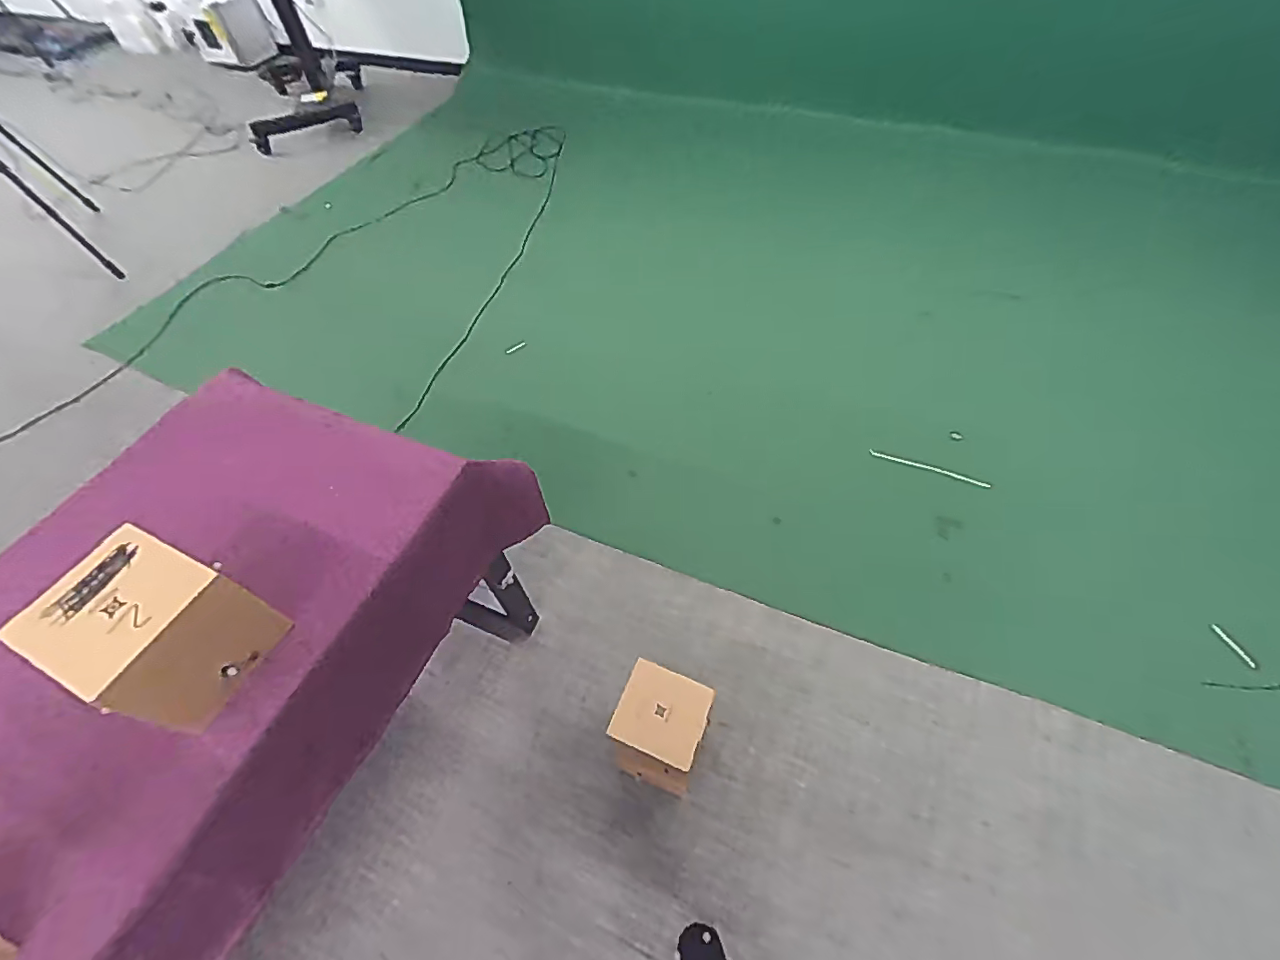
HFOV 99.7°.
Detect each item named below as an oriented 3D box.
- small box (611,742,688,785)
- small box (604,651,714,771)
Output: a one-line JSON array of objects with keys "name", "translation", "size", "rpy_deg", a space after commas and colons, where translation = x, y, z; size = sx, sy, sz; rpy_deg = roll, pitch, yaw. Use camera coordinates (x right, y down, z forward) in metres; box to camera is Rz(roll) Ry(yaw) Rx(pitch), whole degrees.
[{"name": "small box", "translation": [0.045, 0.594, 1.273], "size": [0.168, 0.176, 0.179], "rpy_deg": [17, 57, 14]}, {"name": "small box", "translation": [0.042, 0.494, 1.144], "size": [0.179, 0.176, 0.168], "rpy_deg": [19, 57, 15]}]
